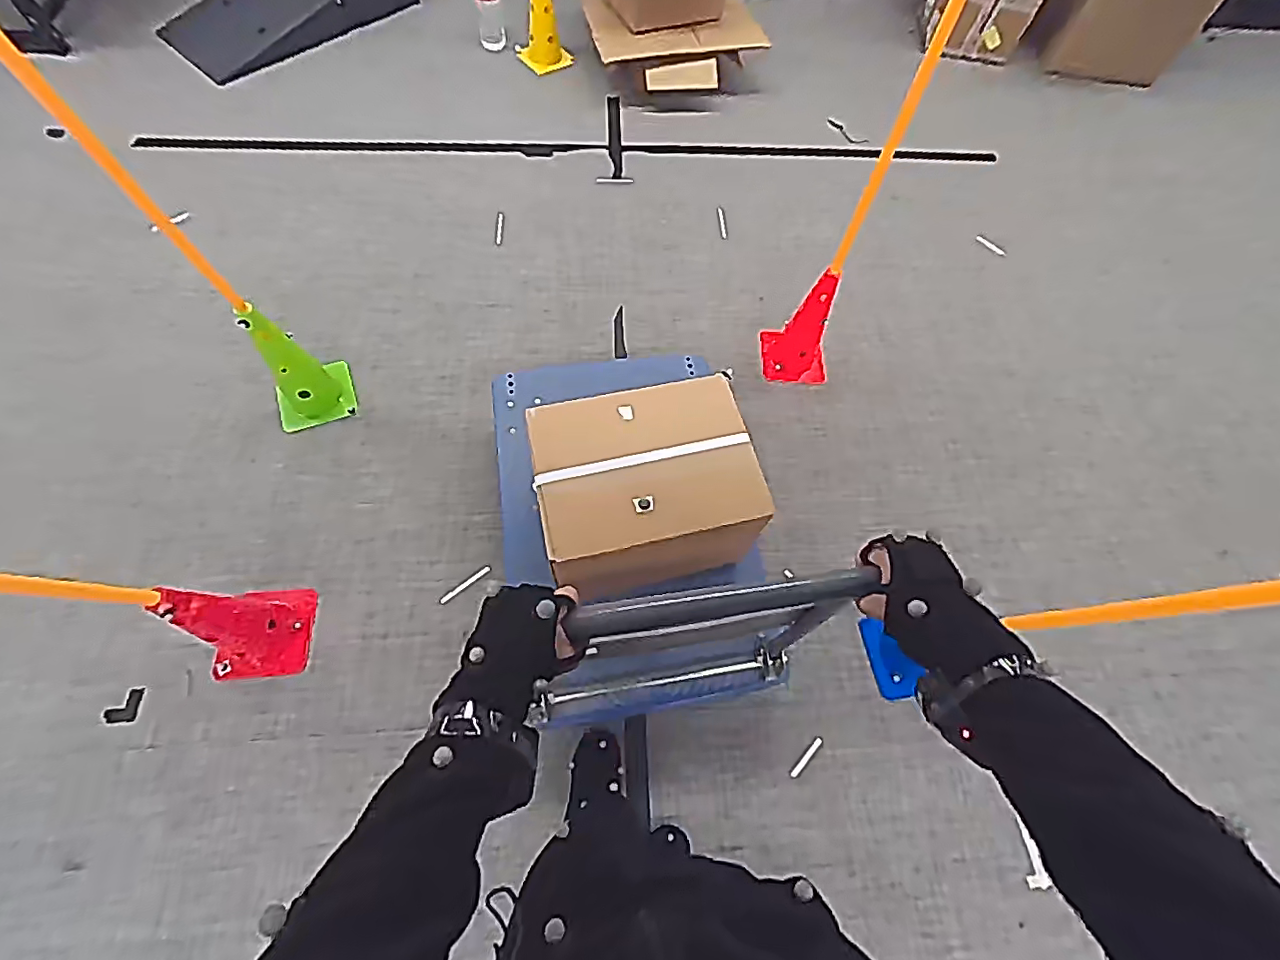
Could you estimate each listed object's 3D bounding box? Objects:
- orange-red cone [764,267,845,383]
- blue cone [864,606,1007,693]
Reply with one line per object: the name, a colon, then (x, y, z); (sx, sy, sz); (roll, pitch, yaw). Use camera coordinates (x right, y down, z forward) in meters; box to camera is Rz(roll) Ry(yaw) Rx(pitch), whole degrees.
orange-red cone: (0.506, -0.467, 1.562); (0.199, 0.360, 0.198); (5, 65, -3)
blue cone: (0.680, 0.351, 1.200); (0.193, 0.380, 0.192); (-5, 64, -7)
